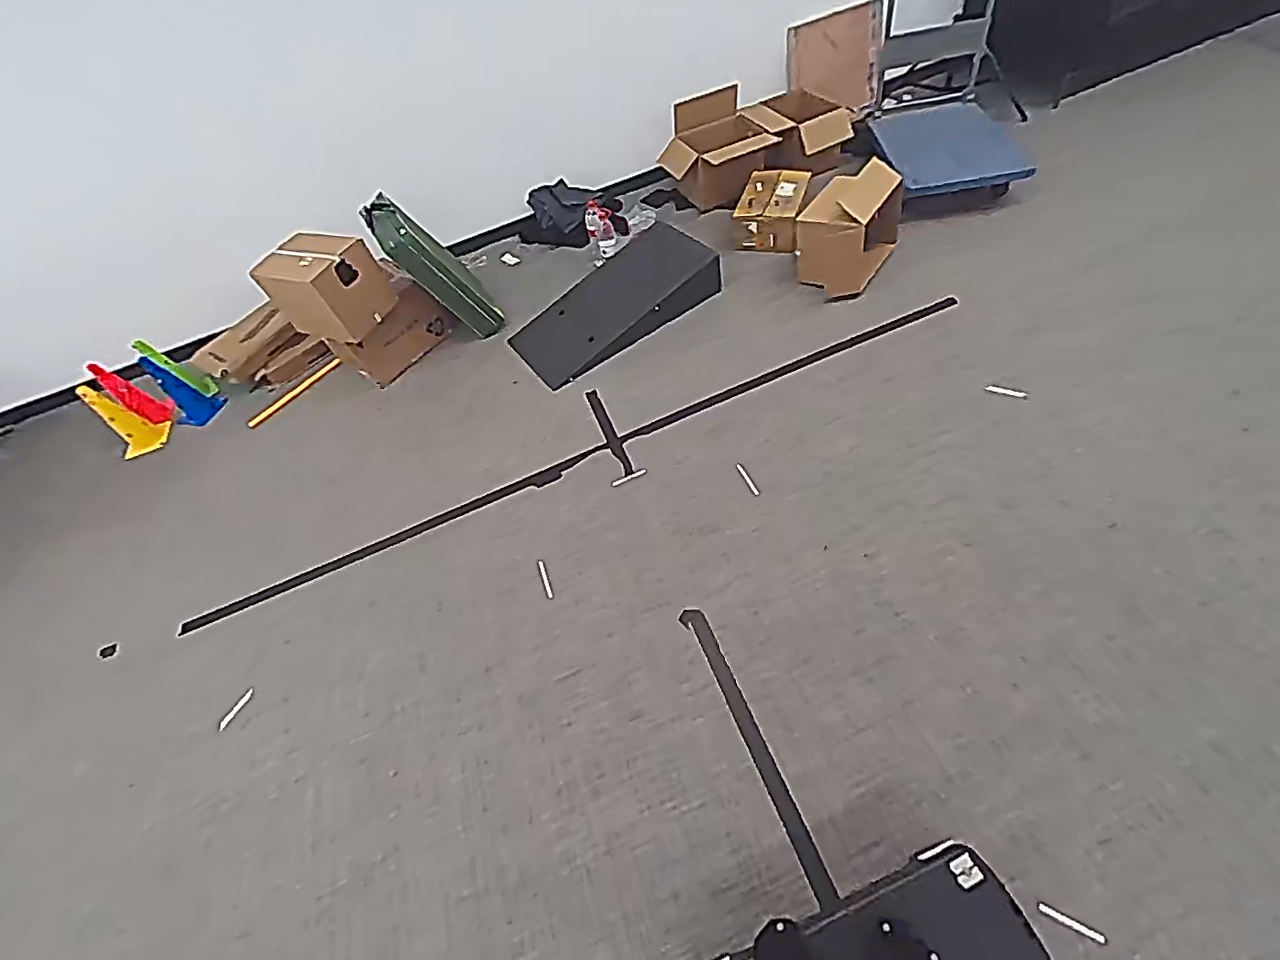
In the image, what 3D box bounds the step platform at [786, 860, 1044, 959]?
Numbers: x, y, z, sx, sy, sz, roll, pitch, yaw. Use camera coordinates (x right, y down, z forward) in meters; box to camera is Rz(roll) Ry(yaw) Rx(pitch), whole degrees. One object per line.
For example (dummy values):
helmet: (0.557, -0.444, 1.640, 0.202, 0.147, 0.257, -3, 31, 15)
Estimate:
step platform: (0.453, 1.047, 1.056, 0.684, 0.204, 0.286, -24, 53, -7)
